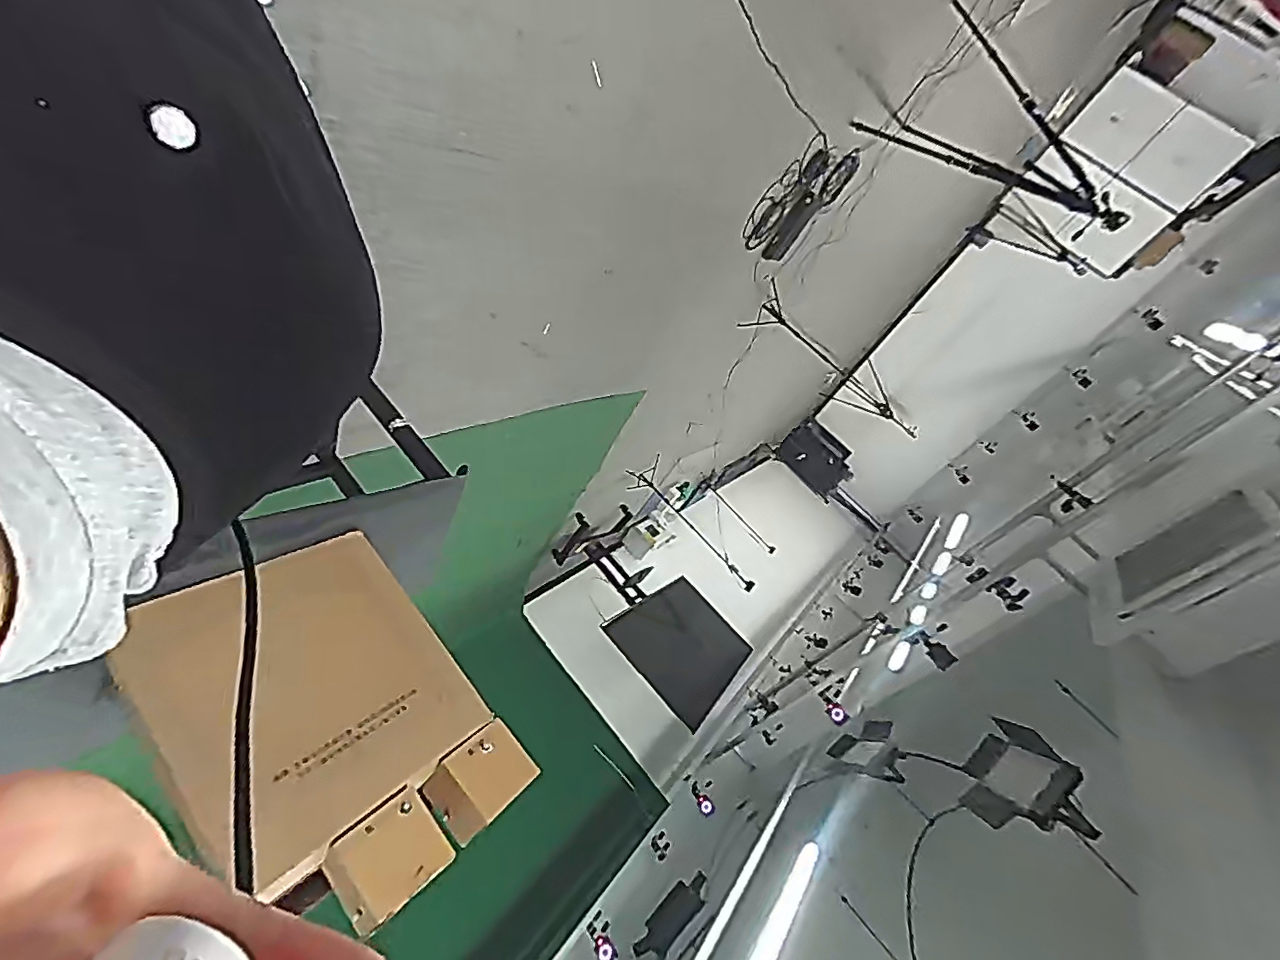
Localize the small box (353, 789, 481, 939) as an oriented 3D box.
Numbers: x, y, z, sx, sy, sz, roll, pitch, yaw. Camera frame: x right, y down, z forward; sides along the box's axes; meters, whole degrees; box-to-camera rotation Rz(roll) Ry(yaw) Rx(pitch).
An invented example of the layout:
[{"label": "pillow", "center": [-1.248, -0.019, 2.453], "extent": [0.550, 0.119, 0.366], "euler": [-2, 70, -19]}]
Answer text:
[{"label": "small box", "center": [-0.460, 0.775, 1.105], "extent": [0.168, 0.176, 0.179], "euler": [-25, 156, -49]}]
